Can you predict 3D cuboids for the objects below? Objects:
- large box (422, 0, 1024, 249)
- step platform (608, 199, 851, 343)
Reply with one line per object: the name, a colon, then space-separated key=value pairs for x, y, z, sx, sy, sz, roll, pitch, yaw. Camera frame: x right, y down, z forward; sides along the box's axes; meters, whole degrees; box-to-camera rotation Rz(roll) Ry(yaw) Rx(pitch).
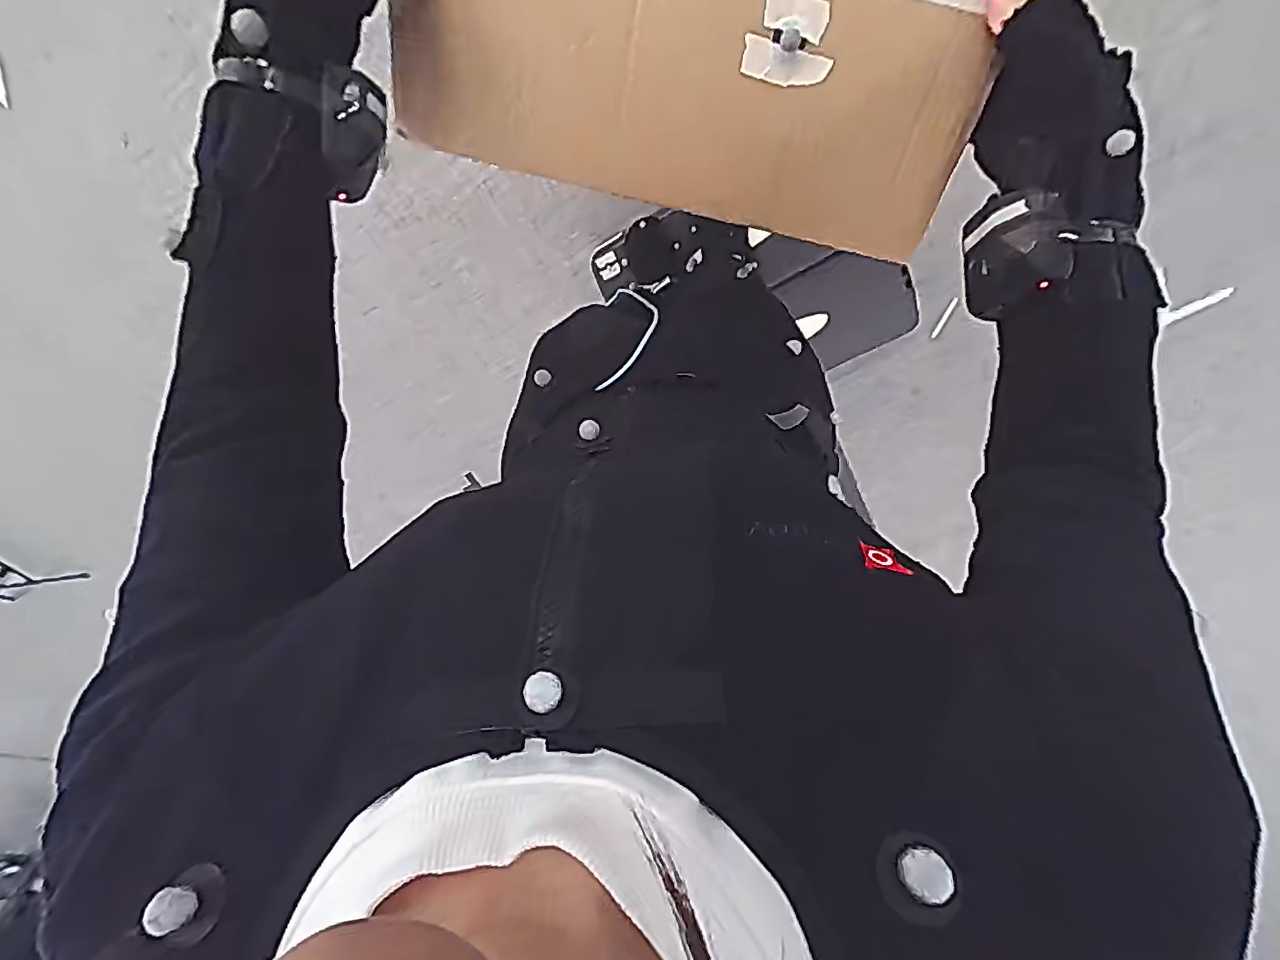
large box: x=0.069 y=-0.432 z=0.467 sx=0.408 sy=0.320 sz=0.320 roll=14 pitch=126 yaw=-2
step platform: x=0.262 y=-0.612 z=1.295 sx=0.684 sy=0.204 sz=0.286 roll=-26 pitch=114 yaw=19
